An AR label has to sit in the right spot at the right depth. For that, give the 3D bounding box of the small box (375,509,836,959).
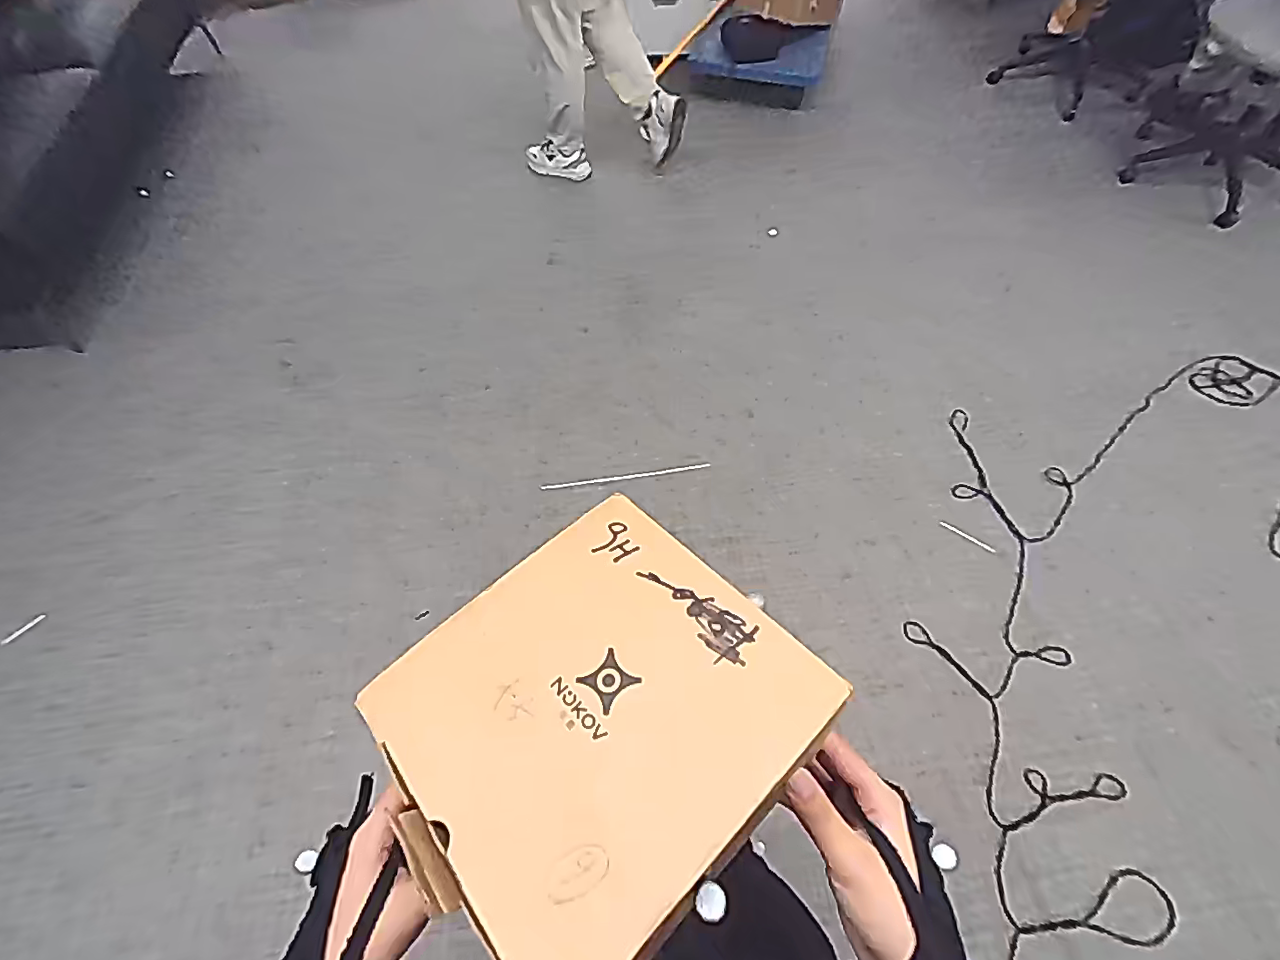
[{"bbox_3d":[-0.012,0.159,0.327,0.179,0.176,0.168,-38,57,-22],"label":"small box"}]
